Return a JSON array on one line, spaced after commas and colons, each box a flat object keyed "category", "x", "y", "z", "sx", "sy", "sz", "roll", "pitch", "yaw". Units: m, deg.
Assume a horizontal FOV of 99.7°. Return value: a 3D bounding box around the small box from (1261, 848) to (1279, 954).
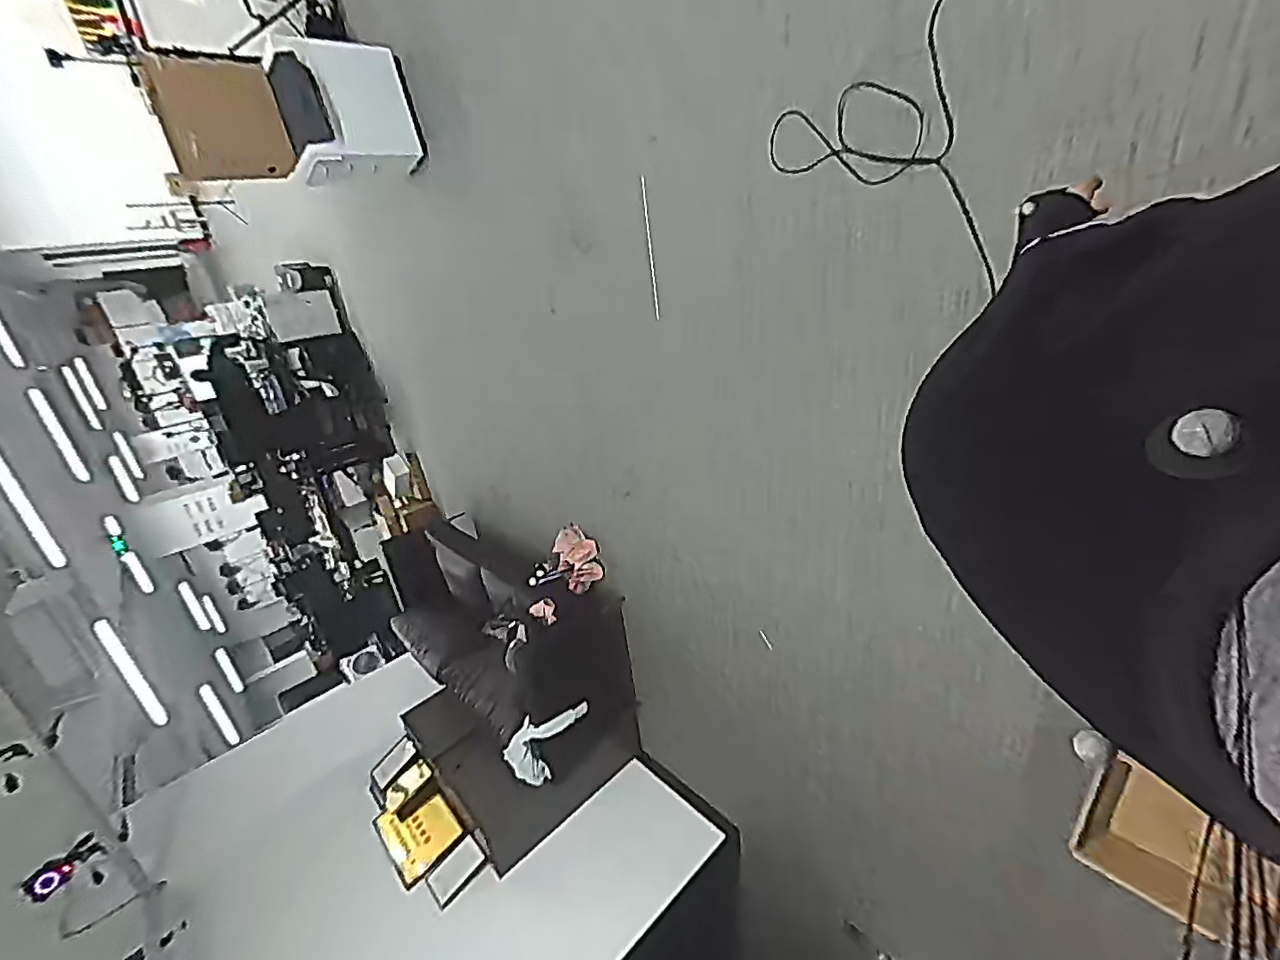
[{"category": "small box", "x": 1.435, "y": 0.905, "z": 1.118, "sx": 0.179, "sy": 0.176, "sz": 0.168, "roll": 13, "pitch": 120, "yaw": 43}]
